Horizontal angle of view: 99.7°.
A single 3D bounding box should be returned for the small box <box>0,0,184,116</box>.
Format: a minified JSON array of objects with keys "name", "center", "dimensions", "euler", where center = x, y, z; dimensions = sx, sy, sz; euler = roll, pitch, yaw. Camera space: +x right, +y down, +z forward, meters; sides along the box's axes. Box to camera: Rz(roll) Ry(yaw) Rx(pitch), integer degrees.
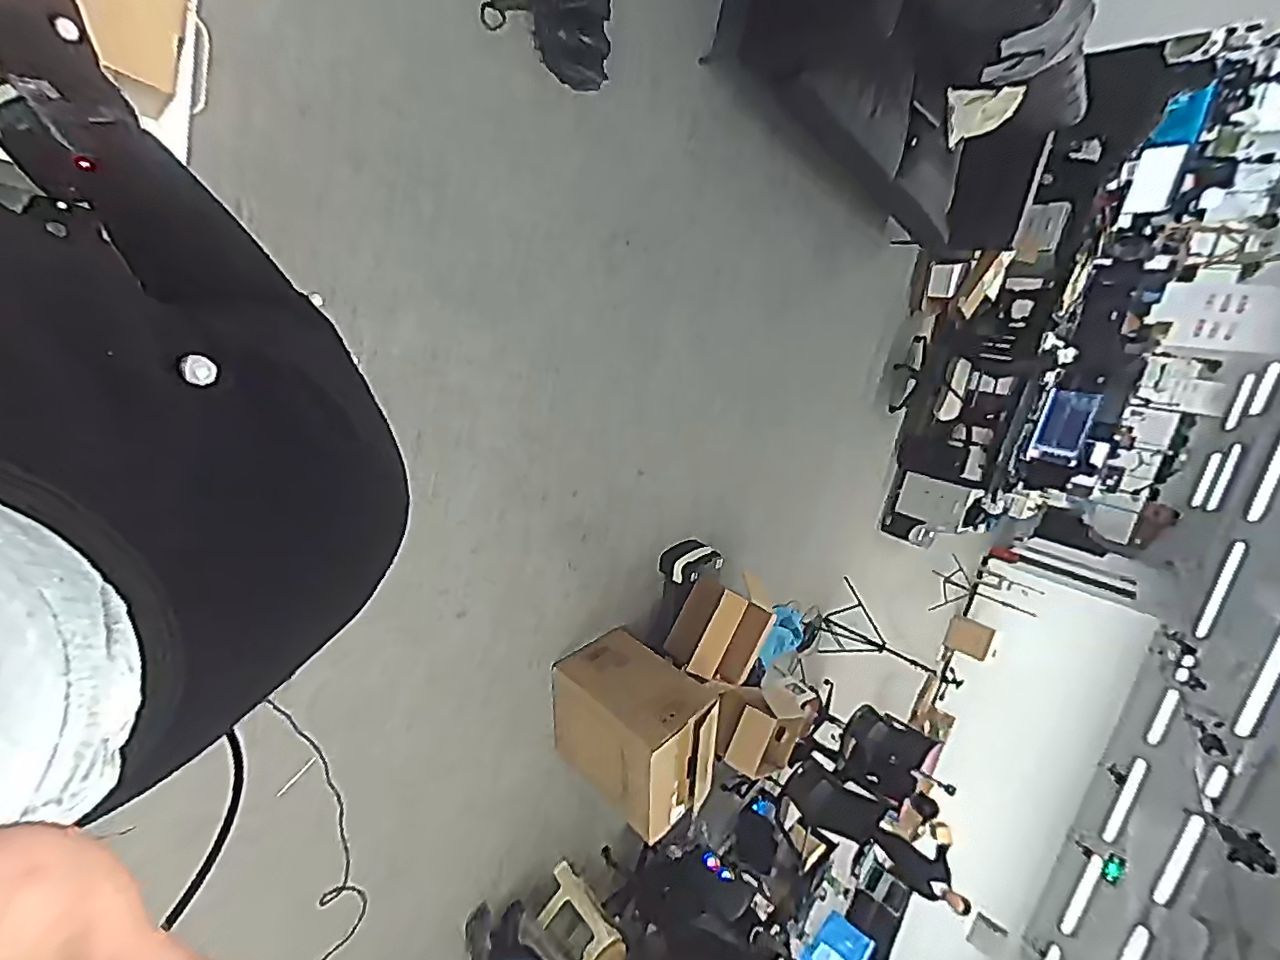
[{"name":"small box","center":[-0.588,-0.501,0.546],"dimensions":[0.179,0.176,0.168],"euler":[3,103,-47]}]
